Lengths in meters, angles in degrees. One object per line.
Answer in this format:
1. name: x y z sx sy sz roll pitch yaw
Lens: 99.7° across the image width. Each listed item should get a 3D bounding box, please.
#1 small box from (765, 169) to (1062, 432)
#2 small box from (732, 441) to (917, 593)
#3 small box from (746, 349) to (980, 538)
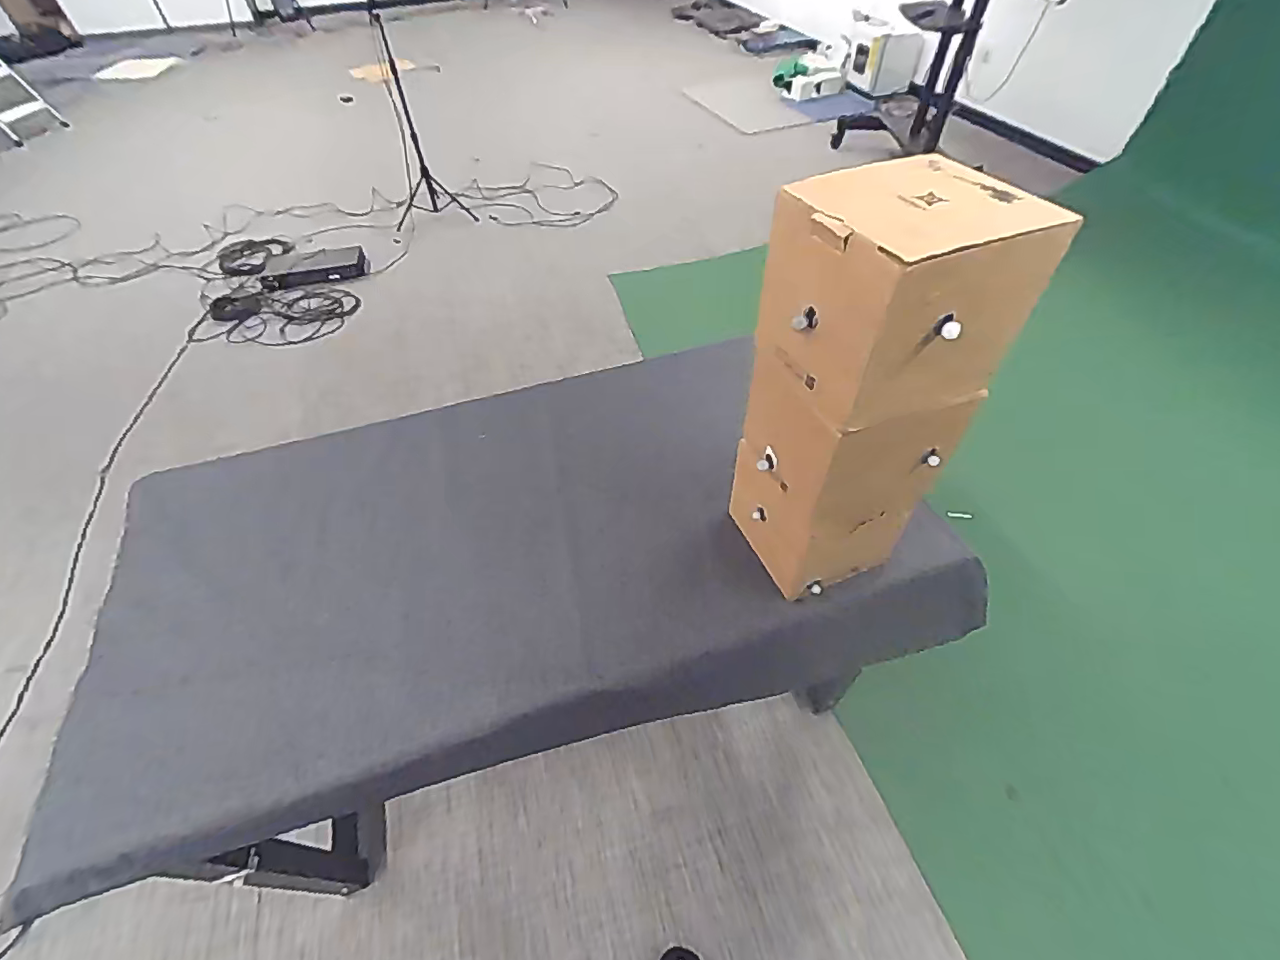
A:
1. small box: 0.235 -0.170 0.522 0.179 0.176 0.168 -18 50 -13
2. small box: 0.246 0.039 0.771 0.168 0.176 0.179 -18 50 -13
3. small box: 0.243 -0.059 0.642 0.179 0.176 0.168 -18 49 -11
